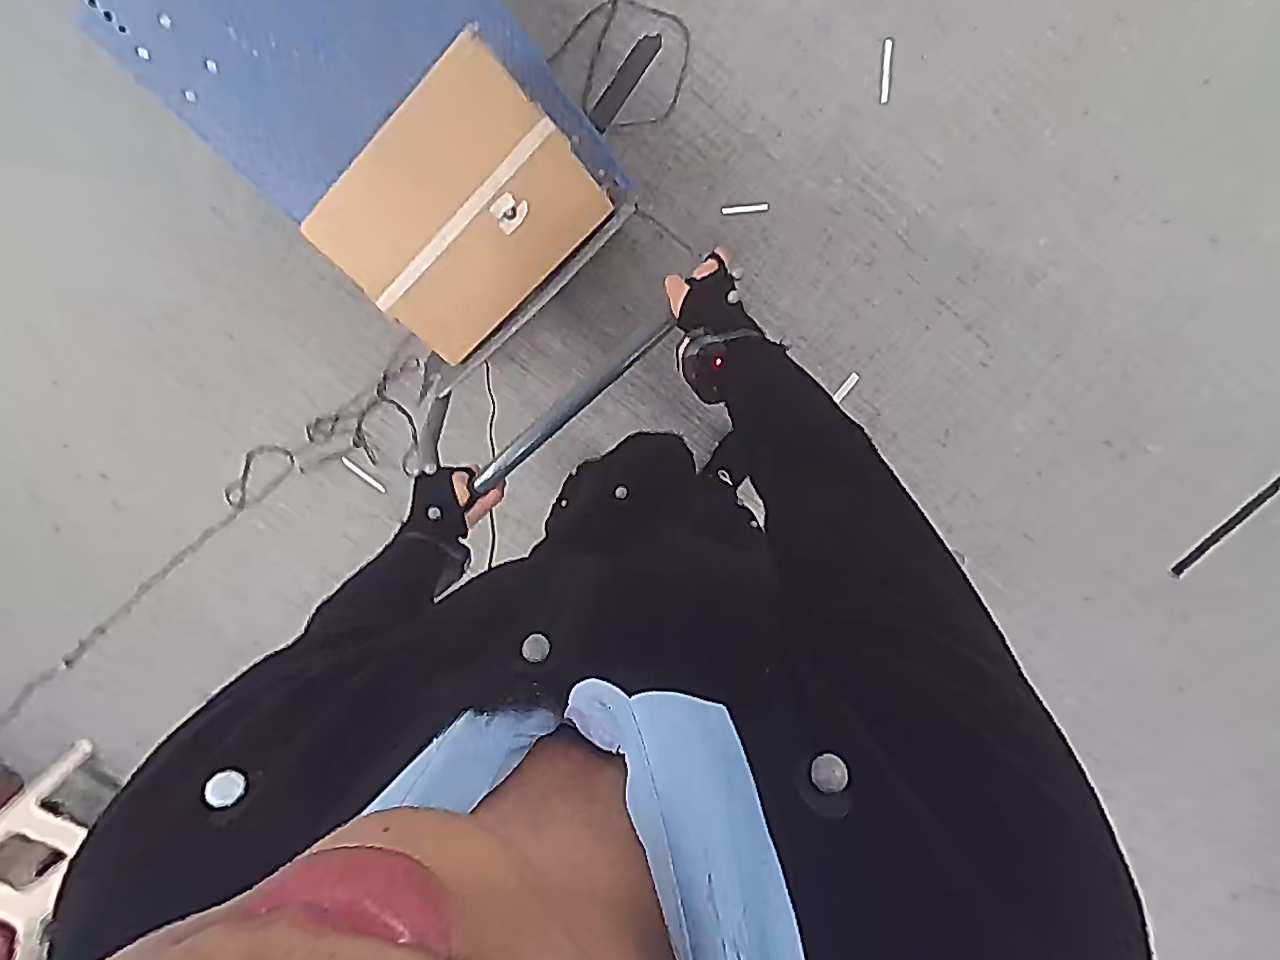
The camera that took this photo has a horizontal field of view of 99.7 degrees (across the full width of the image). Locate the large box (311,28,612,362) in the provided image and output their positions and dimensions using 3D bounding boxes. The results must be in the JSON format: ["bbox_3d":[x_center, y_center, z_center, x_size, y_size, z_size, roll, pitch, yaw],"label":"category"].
[{"bbox_3d":[-0.310,-0.502,1.016,0.408,0.320,0.320,-40,118,12],"label":"large box"}]
